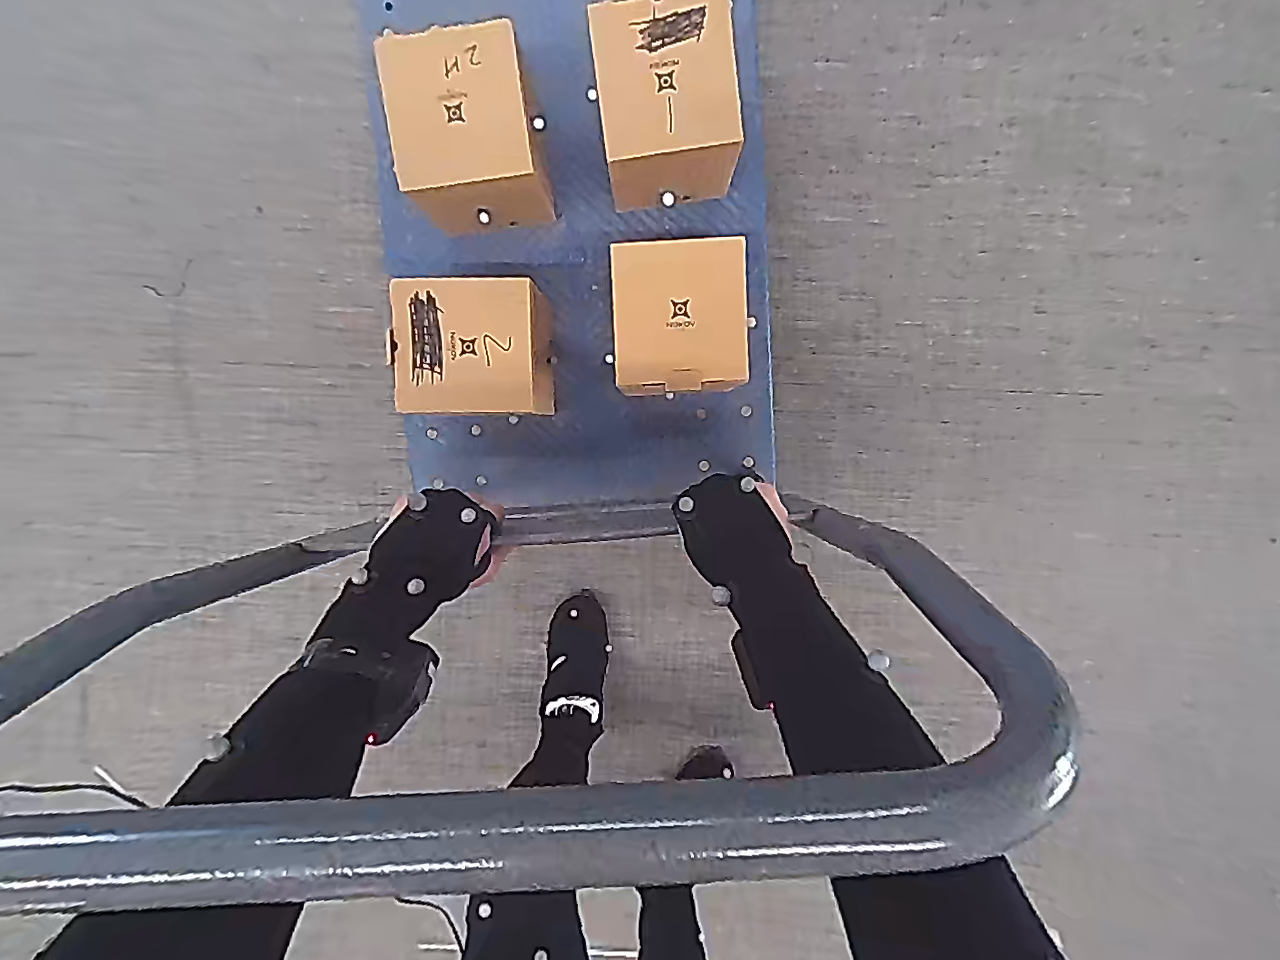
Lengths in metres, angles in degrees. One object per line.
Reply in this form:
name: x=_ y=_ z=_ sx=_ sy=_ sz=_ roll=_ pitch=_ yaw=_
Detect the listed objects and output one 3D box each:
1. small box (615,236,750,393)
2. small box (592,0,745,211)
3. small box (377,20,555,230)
small box: x=0.053 y=-0.213 z=0.739 sx=0.168 sy=0.176 sz=0.179 roll=-3 pitch=97 yaw=1
small box: x=0.035 y=-0.481 z=0.707 sx=0.168 sy=0.176 sz=0.179 roll=-7 pitch=97 yaw=3
small box: x=-0.215 y=-0.448 z=0.717 sx=0.168 sy=0.176 sz=0.179 roll=-7 pitch=96 yaw=1
